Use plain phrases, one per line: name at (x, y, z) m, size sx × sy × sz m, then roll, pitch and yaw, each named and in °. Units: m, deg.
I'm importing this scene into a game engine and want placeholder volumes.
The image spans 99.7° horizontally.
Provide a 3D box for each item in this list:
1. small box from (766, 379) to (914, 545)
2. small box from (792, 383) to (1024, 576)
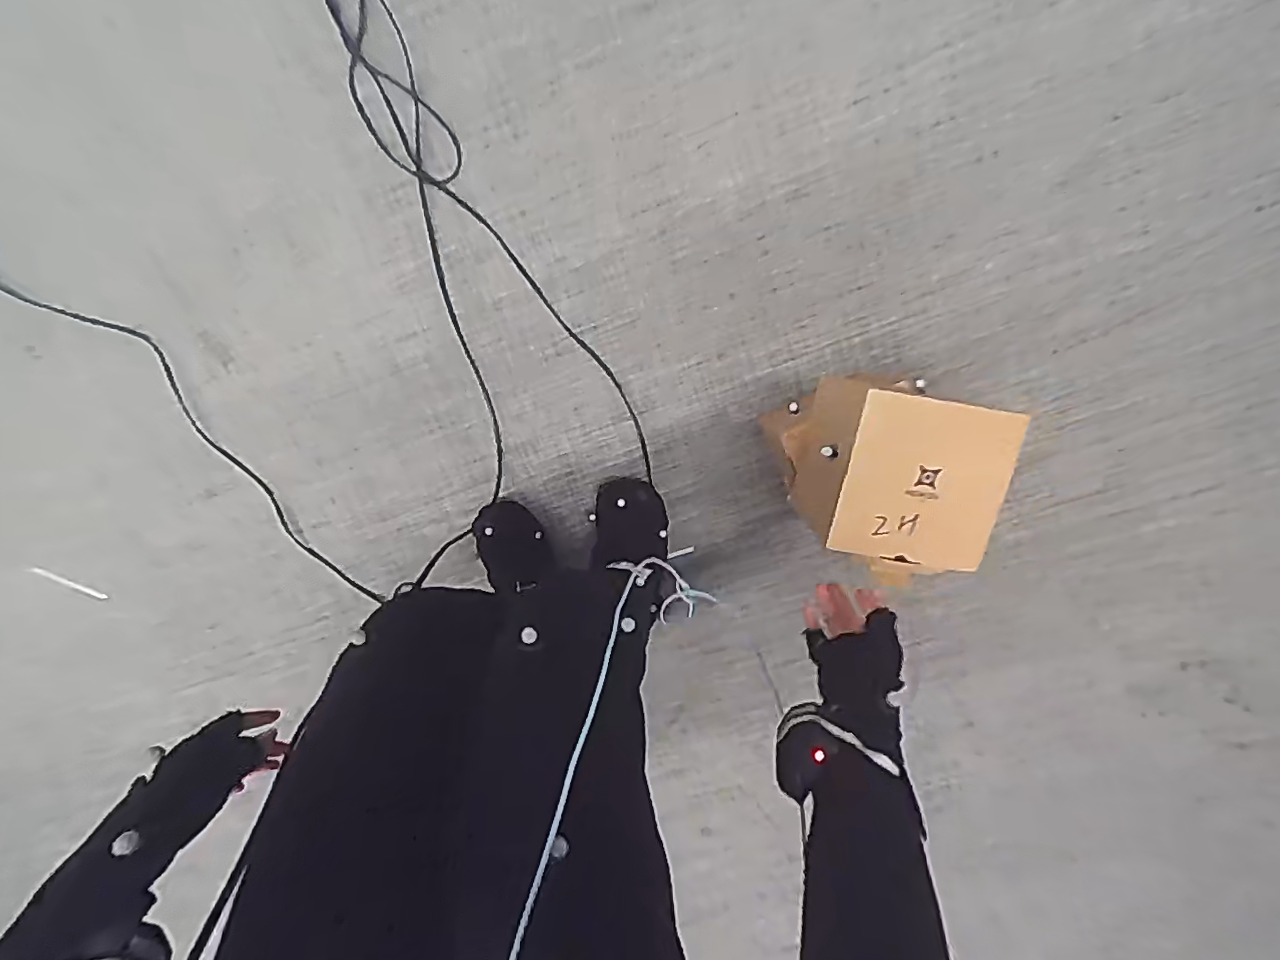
small box at (0.295, -0.034, 0.783) m, size 0.179 × 0.176 × 0.168 m, roll -24°, pitch 103°, yaw 7°
small box at (0.292, -0.013, 0.636) m, size 0.168 × 0.176 × 0.179 m, roll 10°, pitch 105°, yaw 0°
